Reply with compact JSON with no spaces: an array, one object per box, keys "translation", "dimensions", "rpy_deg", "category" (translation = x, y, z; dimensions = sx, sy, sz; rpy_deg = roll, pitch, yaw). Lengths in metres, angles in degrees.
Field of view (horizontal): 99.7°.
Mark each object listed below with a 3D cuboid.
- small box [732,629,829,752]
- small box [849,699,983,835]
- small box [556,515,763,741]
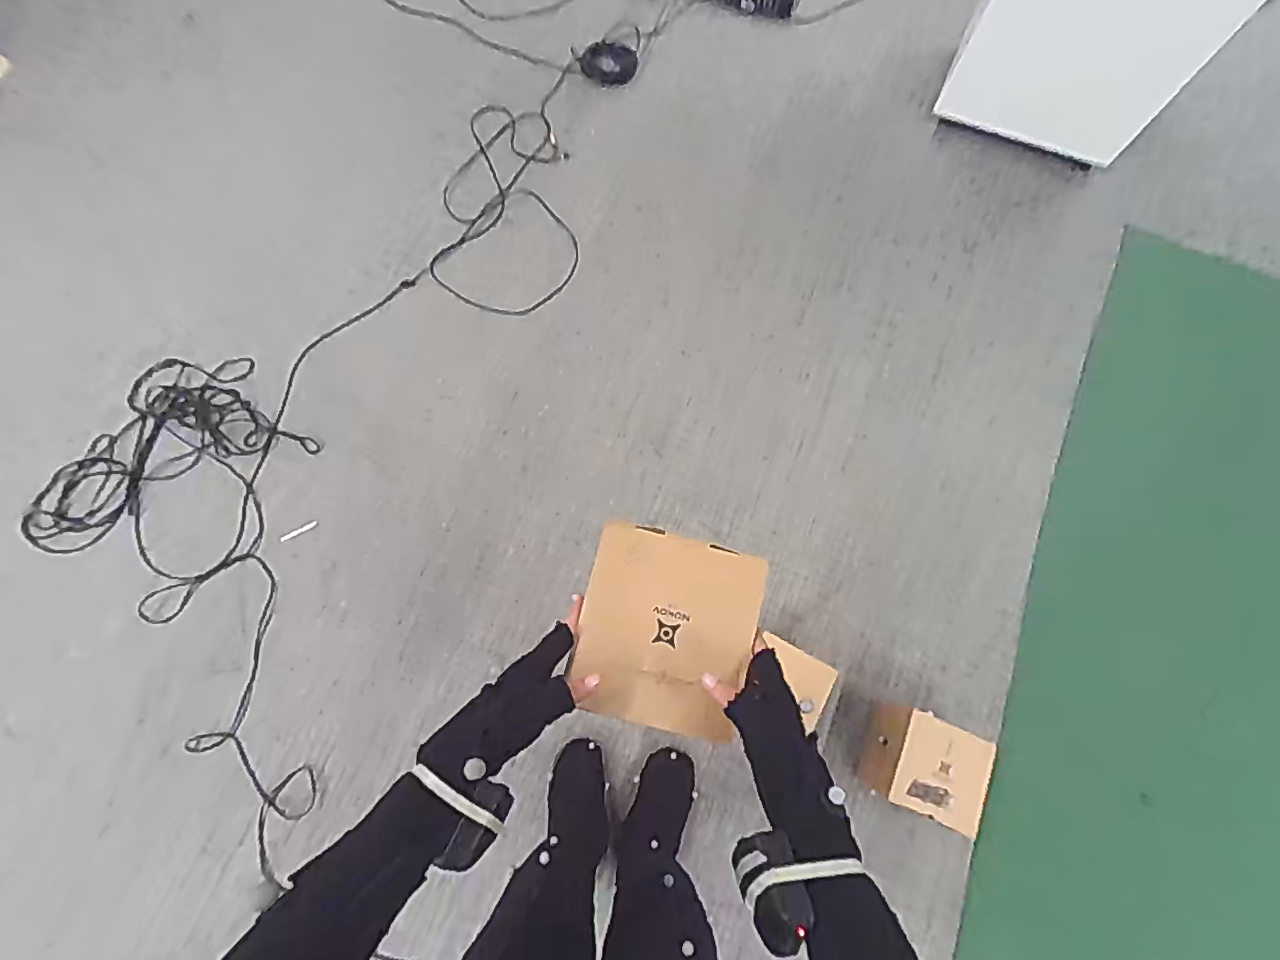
[{"translation":[0.264,0.433,1.141],"dimensions":[0.168,0.176,0.179],"rpy_deg":[28,76,7],"category":"small box"},{"translation":[0.550,0.570,1.102],"dimensions":[0.168,0.176,0.179],"rpy_deg":[24,75,6],"category":"small box"},{"translation":[0.015,0.147,0.581],"dimensions":[0.168,0.176,0.179],"rpy_deg":[14,81,-2],"category":"small box"}]
